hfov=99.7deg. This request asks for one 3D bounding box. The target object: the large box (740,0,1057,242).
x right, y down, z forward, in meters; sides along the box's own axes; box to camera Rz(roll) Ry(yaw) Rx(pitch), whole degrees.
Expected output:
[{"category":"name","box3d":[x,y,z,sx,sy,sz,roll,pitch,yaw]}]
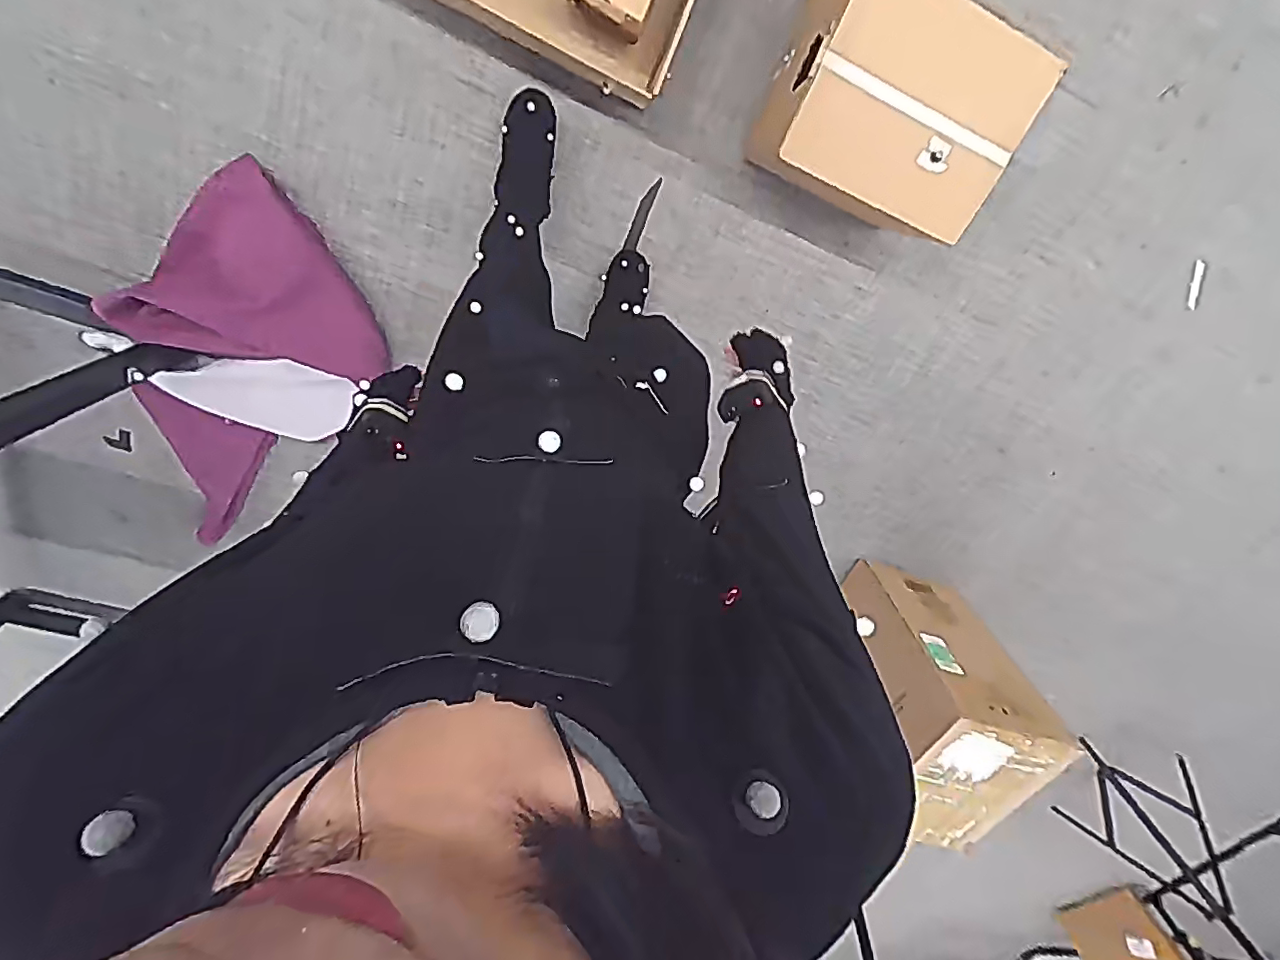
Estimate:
[{"category":"large box","box3d":[0.470,-0.720,1.079,0.408,0.320,0.320,17,118,-14]}]
